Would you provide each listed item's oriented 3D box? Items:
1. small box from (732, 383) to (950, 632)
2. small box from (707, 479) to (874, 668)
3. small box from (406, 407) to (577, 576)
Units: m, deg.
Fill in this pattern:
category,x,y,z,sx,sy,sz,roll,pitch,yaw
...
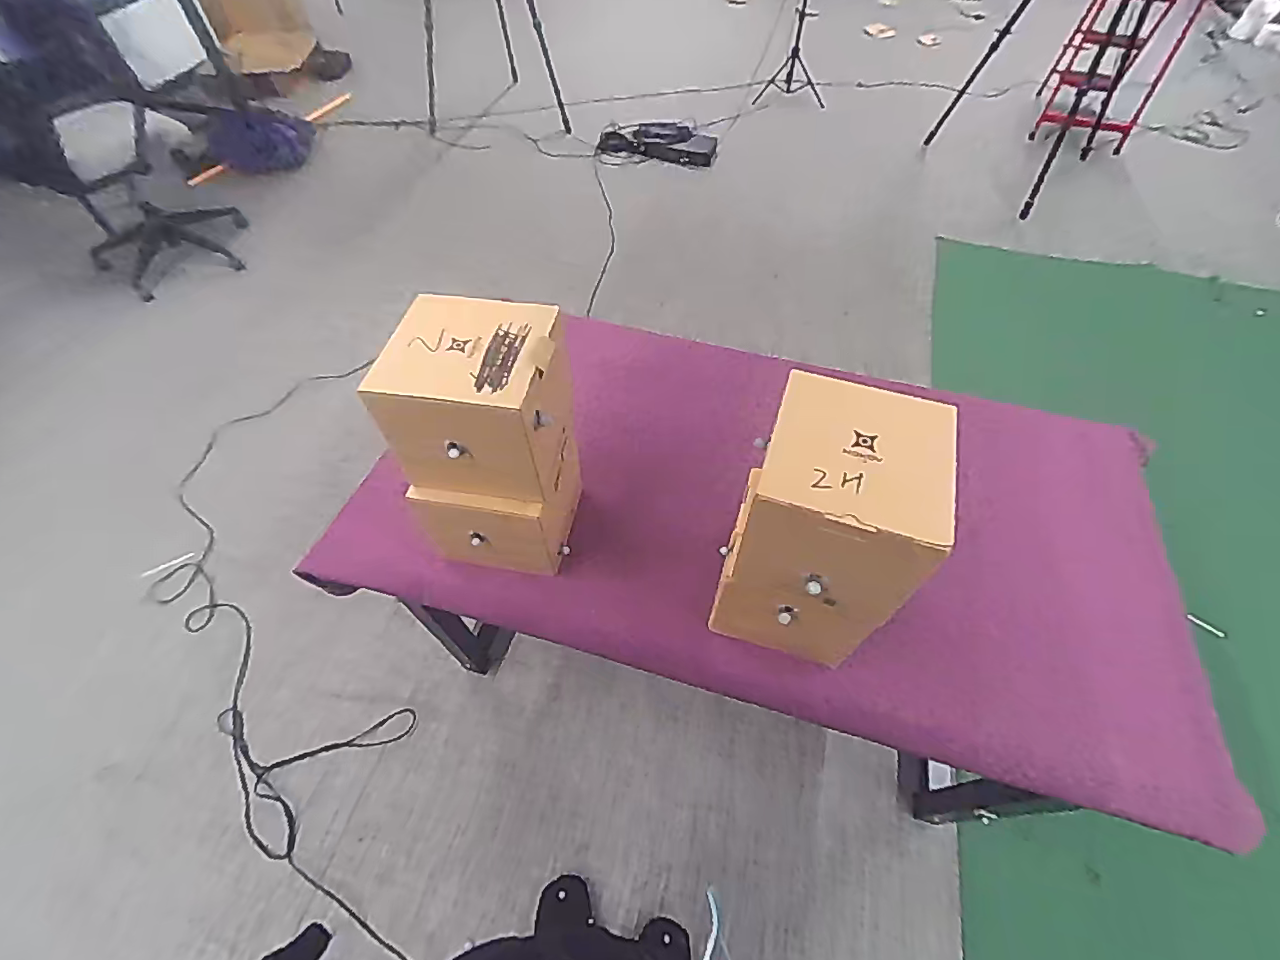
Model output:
category,x,y,z,sx,sy,sz,roll,pitch,yaw
small box,0.206,0.032,0.579,0.168,0.176,0.179,17,56,12
small box,0.197,0.129,0.712,0.179,0.176,0.168,15,55,11
small box,-0.195,0.022,0.775,0.179,0.176,0.168,9,54,6
